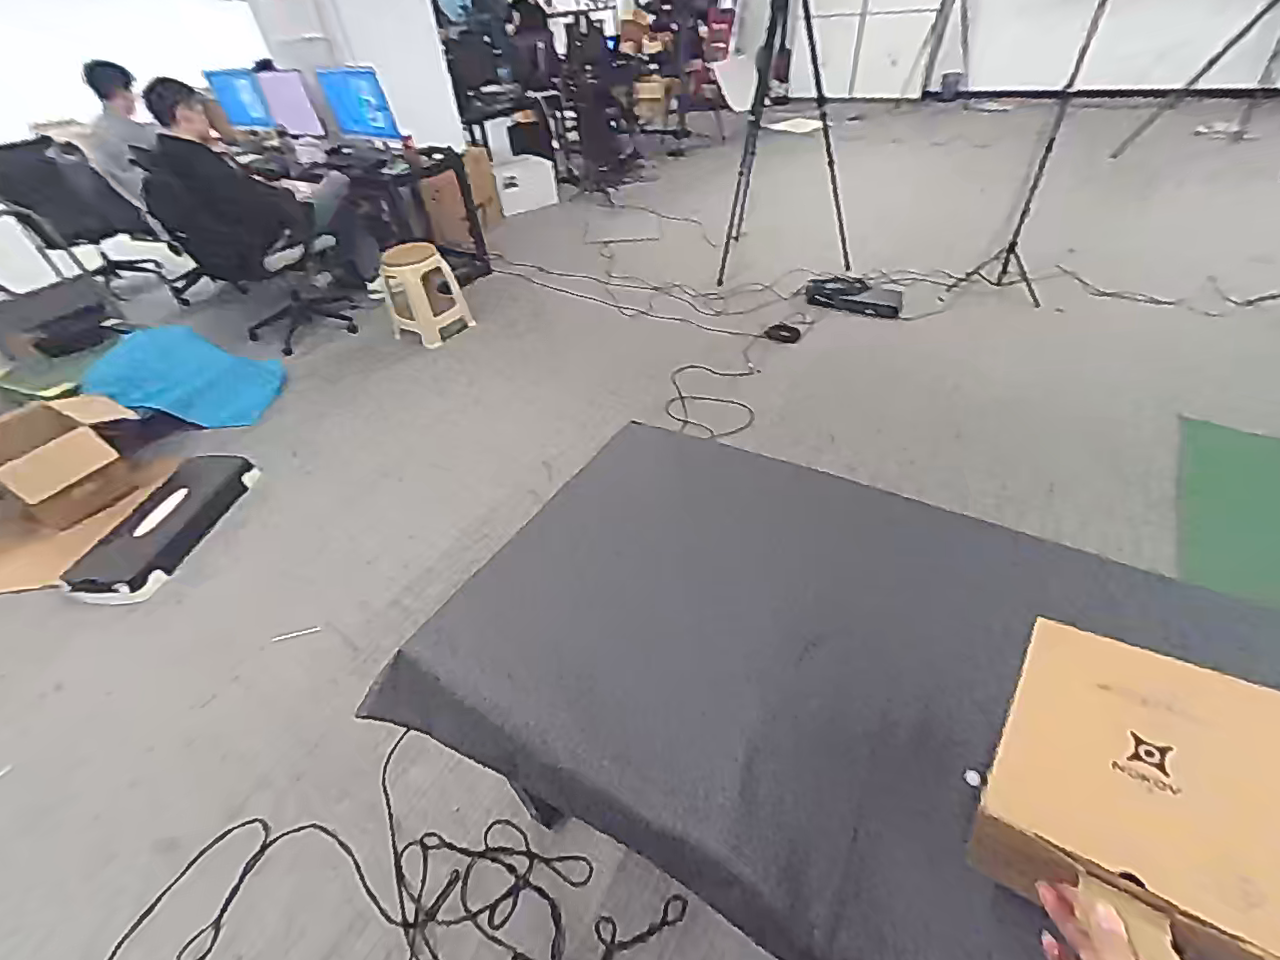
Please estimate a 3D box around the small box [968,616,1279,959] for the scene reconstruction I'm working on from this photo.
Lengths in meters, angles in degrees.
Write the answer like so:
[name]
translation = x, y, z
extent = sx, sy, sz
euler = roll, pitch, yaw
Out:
[small box]
translation = 0.380, 0.250, 0.436
extent = 0.168, 0.176, 0.179
euler = 16, 53, 36
